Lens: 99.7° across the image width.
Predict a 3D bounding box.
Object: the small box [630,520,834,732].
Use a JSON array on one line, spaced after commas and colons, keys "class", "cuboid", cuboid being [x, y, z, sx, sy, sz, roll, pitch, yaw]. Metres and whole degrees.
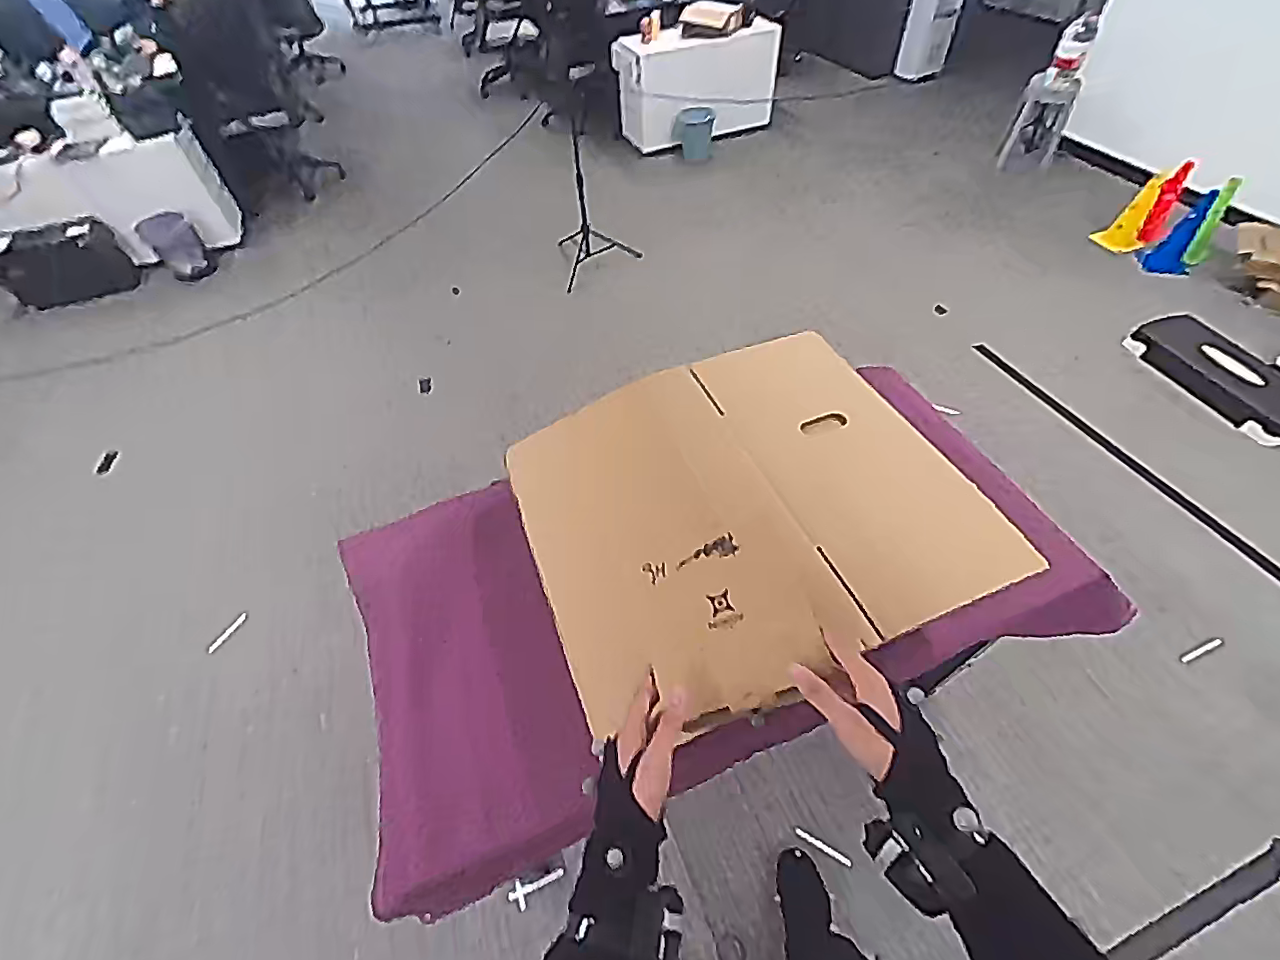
[{"class": "small box", "cuboid": [0.101, 0.173, 0.611, 0.168, 0.176, 0.179, -18, 61, 4]}]
